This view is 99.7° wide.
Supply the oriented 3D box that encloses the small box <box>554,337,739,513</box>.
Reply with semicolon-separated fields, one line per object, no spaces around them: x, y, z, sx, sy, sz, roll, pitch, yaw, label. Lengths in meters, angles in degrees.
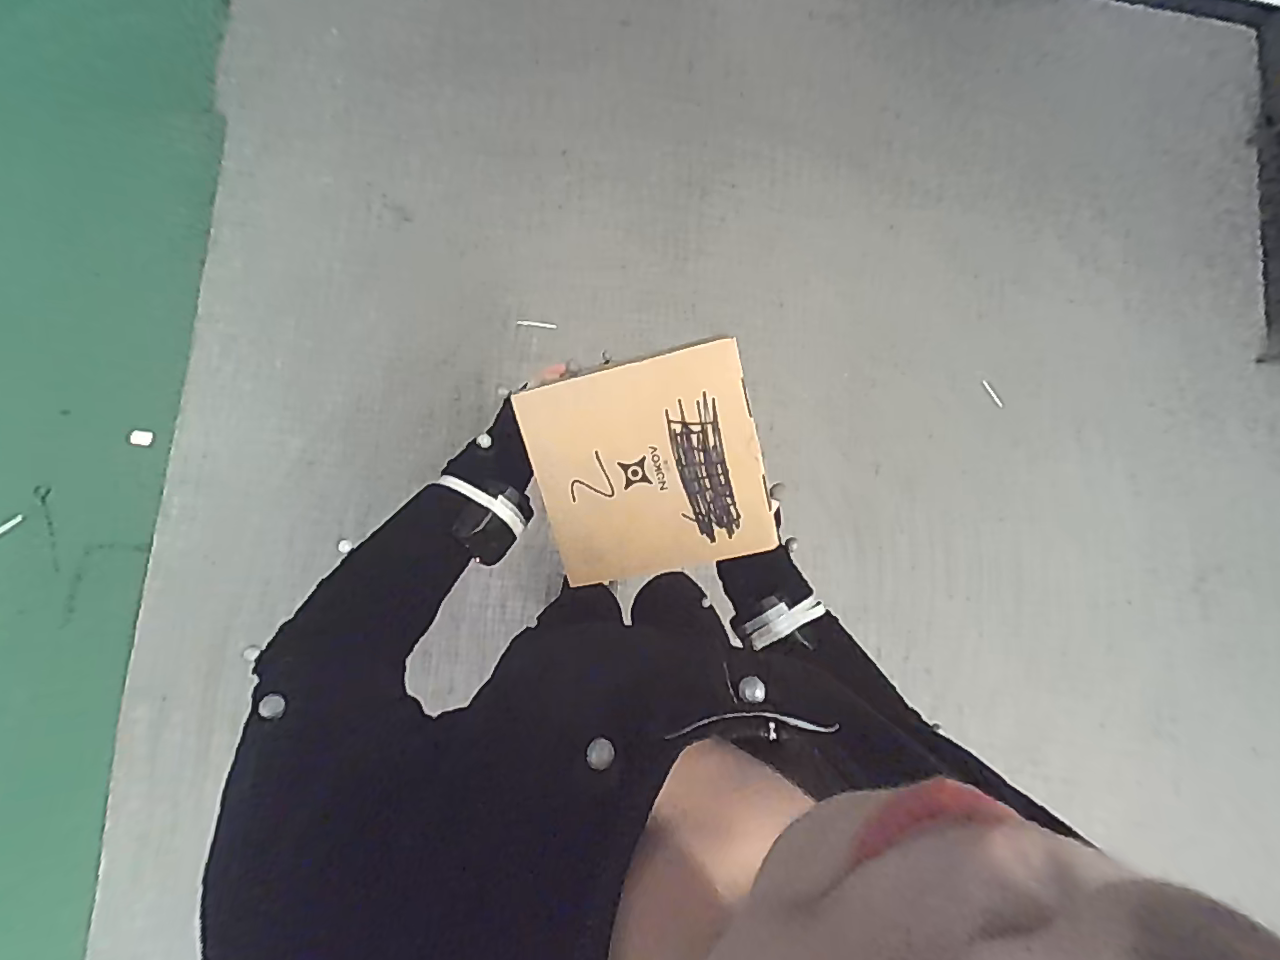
0.017;-0.073;0.649;0.179;0.176;0.168;-10;105;8;small box
